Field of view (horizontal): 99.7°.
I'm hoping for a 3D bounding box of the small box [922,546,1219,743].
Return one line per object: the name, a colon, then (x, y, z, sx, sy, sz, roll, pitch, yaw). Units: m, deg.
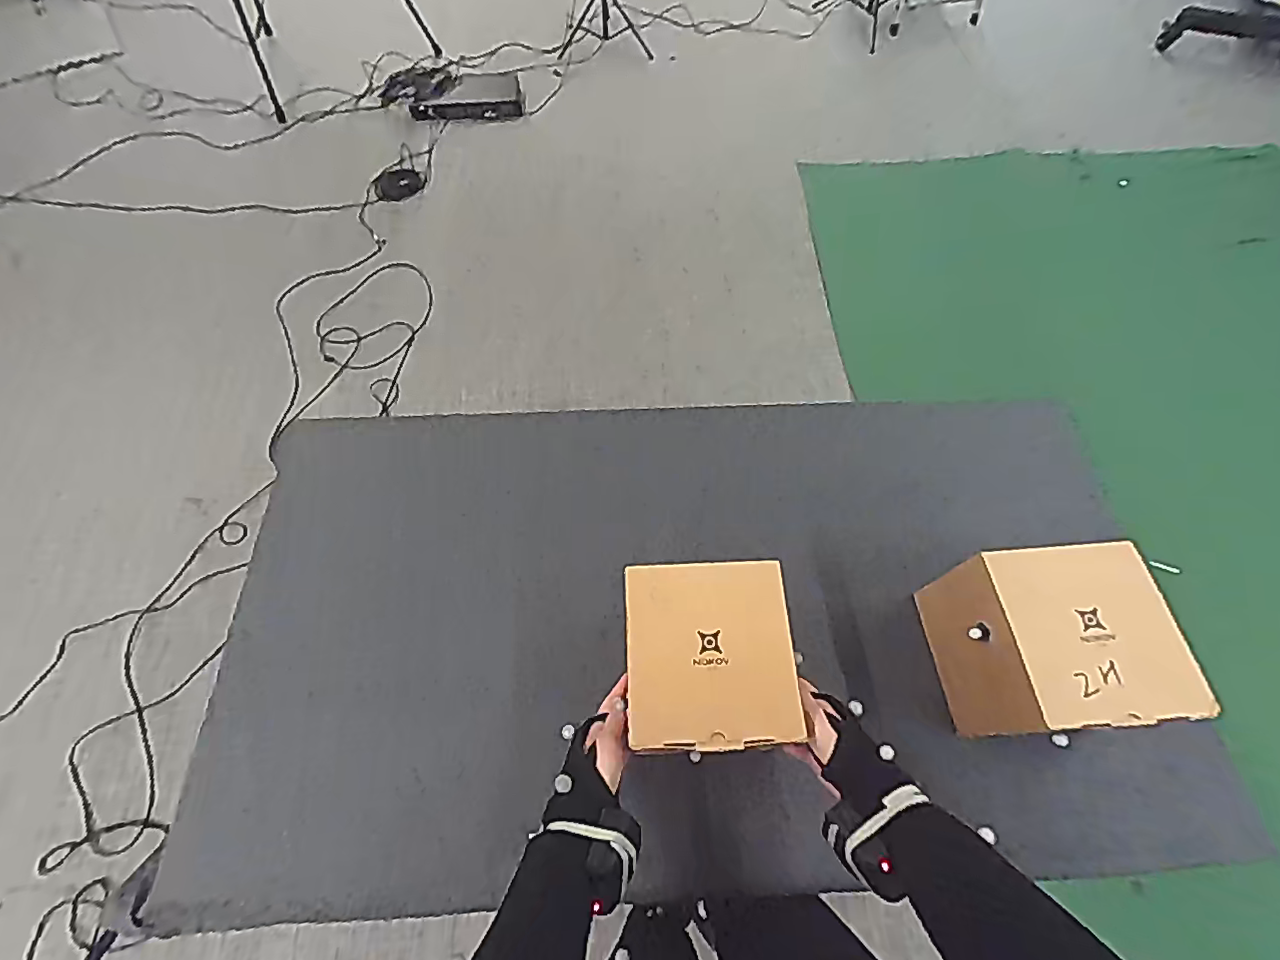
small box: (0.448, 0.189, 0.605, 0.168, 0.176, 0.179, -5, 63, 0)
